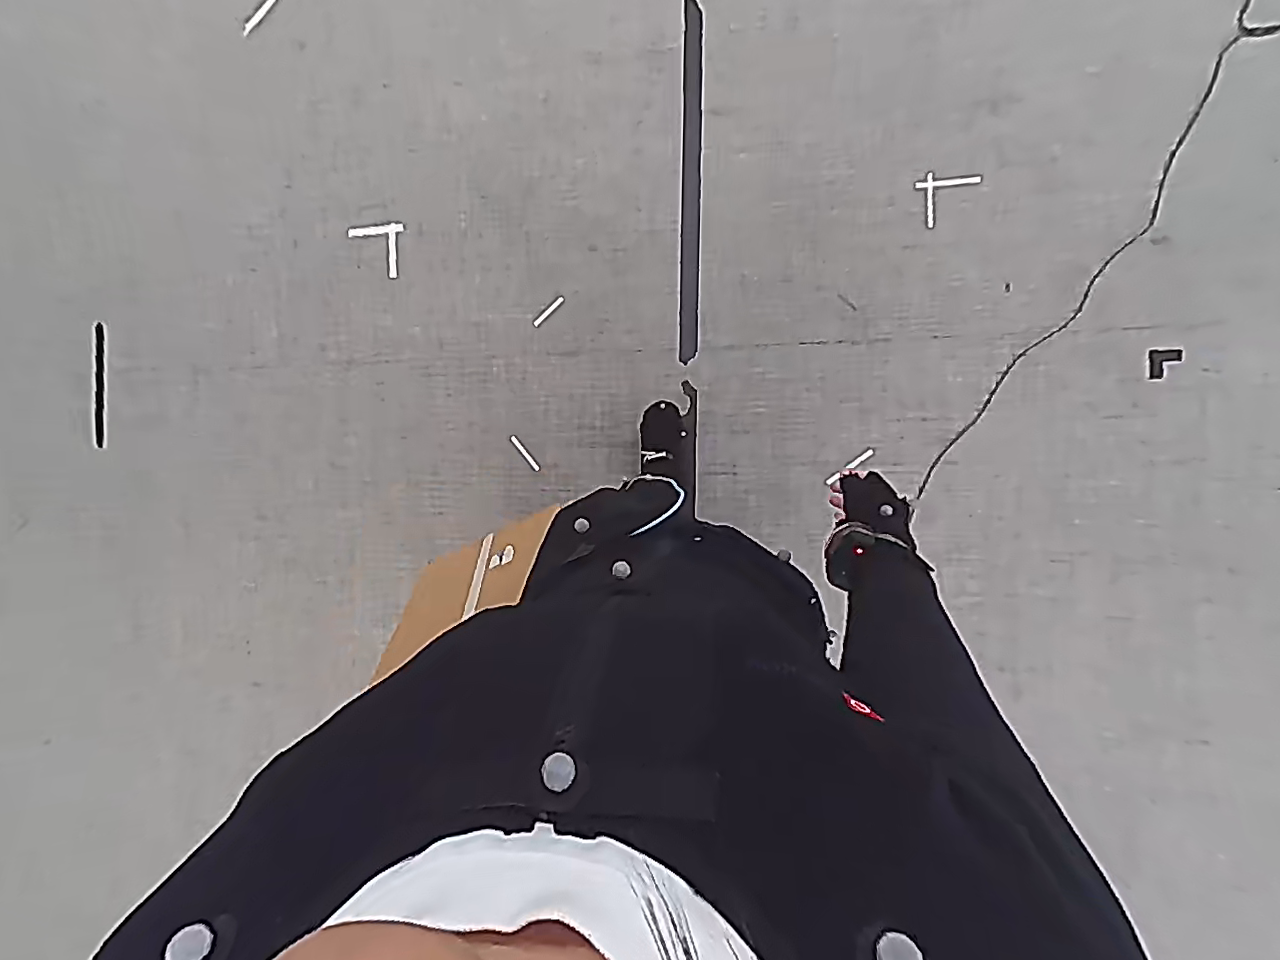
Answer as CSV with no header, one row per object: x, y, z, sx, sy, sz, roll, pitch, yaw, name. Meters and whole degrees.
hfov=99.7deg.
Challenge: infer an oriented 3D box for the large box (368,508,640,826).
-0.215,0.315,1.000,0.320,0.408,0.320,-24,112,4,large box
